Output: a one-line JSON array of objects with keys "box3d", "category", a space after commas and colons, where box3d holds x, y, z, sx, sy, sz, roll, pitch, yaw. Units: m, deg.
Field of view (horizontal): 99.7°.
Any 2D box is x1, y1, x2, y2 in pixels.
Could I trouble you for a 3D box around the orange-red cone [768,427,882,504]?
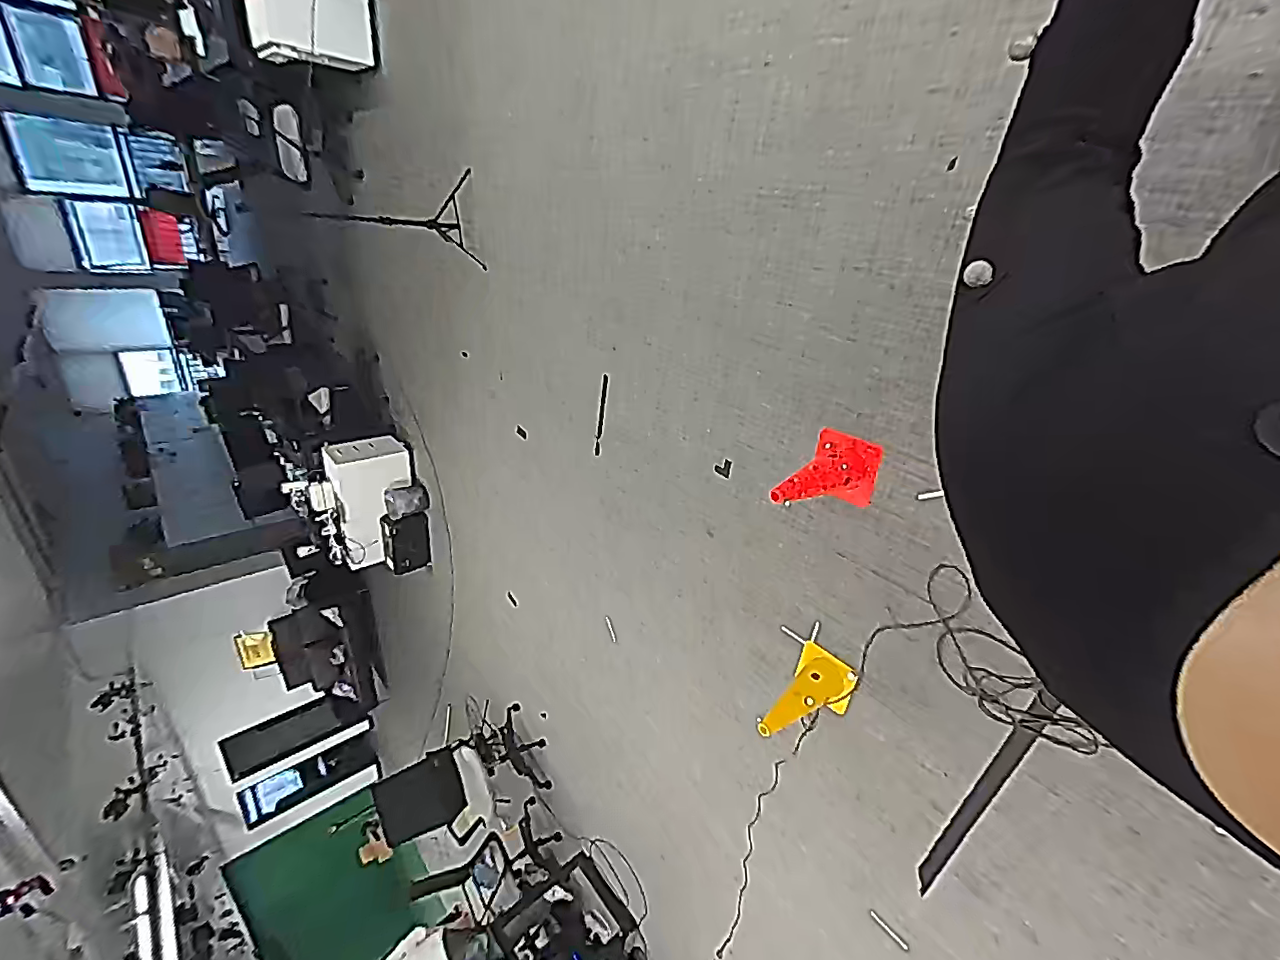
[{"box3d": [0.483, -0.001, 1.511, 0.198, 0.360, 0.199, 30, 127, 41], "category": "orange-red cone"}]
